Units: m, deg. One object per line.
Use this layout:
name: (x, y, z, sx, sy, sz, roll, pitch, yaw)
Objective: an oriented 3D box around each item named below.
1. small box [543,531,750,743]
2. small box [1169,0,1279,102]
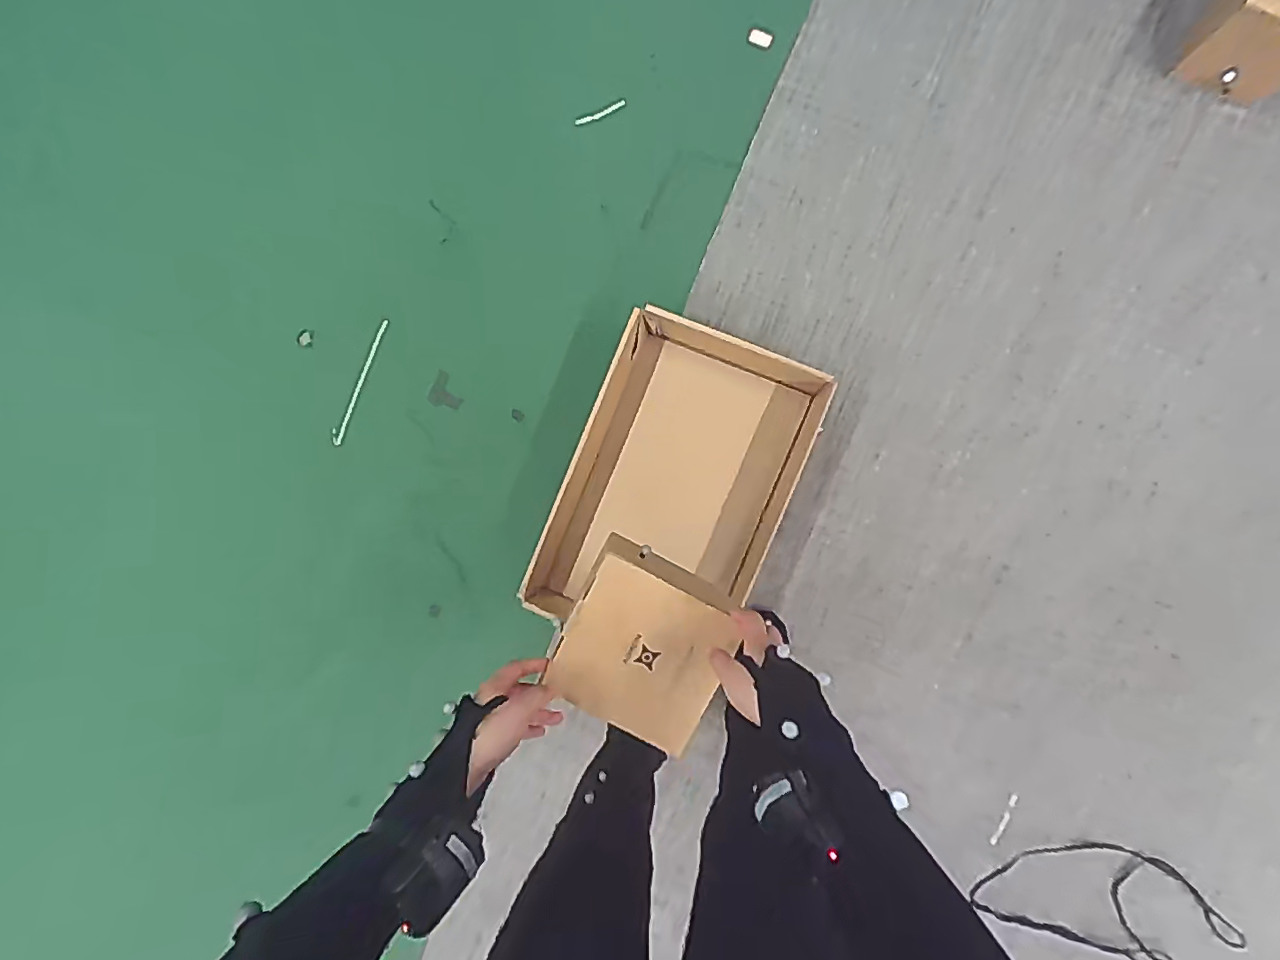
small box: (0.004, 0.174, 0.661, 0.179, 0.176, 0.168, 27, 92, -3)
small box: (1.129, -0.842, 0.972, 0.168, 0.176, 0.179, 28, 93, 7)
